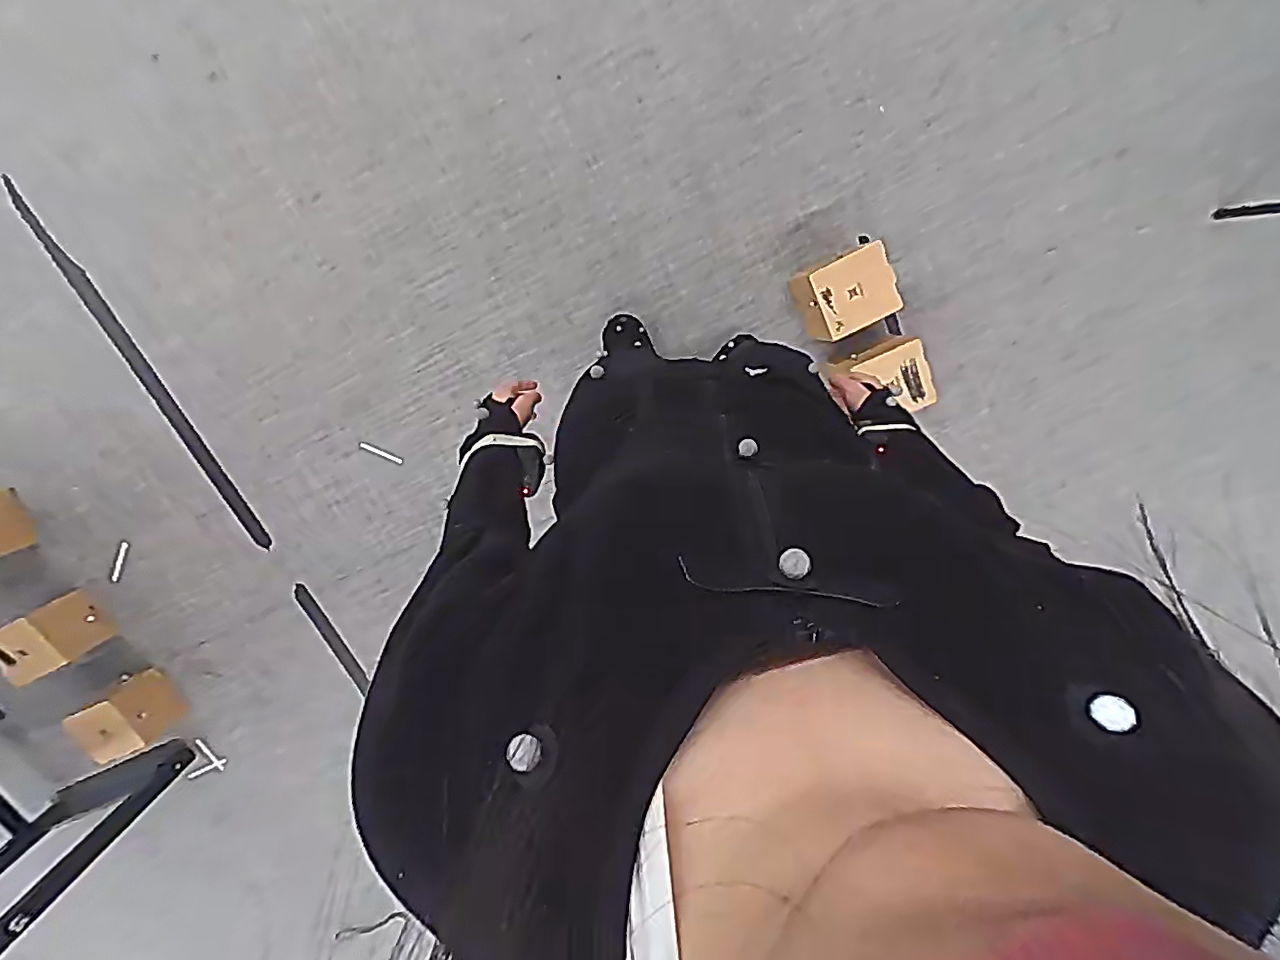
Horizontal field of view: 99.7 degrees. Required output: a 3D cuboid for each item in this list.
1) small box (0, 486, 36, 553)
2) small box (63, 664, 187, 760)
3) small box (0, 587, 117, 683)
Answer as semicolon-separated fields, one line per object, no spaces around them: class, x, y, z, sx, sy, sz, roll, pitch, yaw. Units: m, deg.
small box;-1.813;0.120;1.447;0.168;0.176;0.179;-8;108;1
small box;-1.536;0.693;1.628;0.168;0.176;0.179;-22;106;5
small box;-1.679;0.436;1.545;0.179;0.176;0.168;-25;106;6
